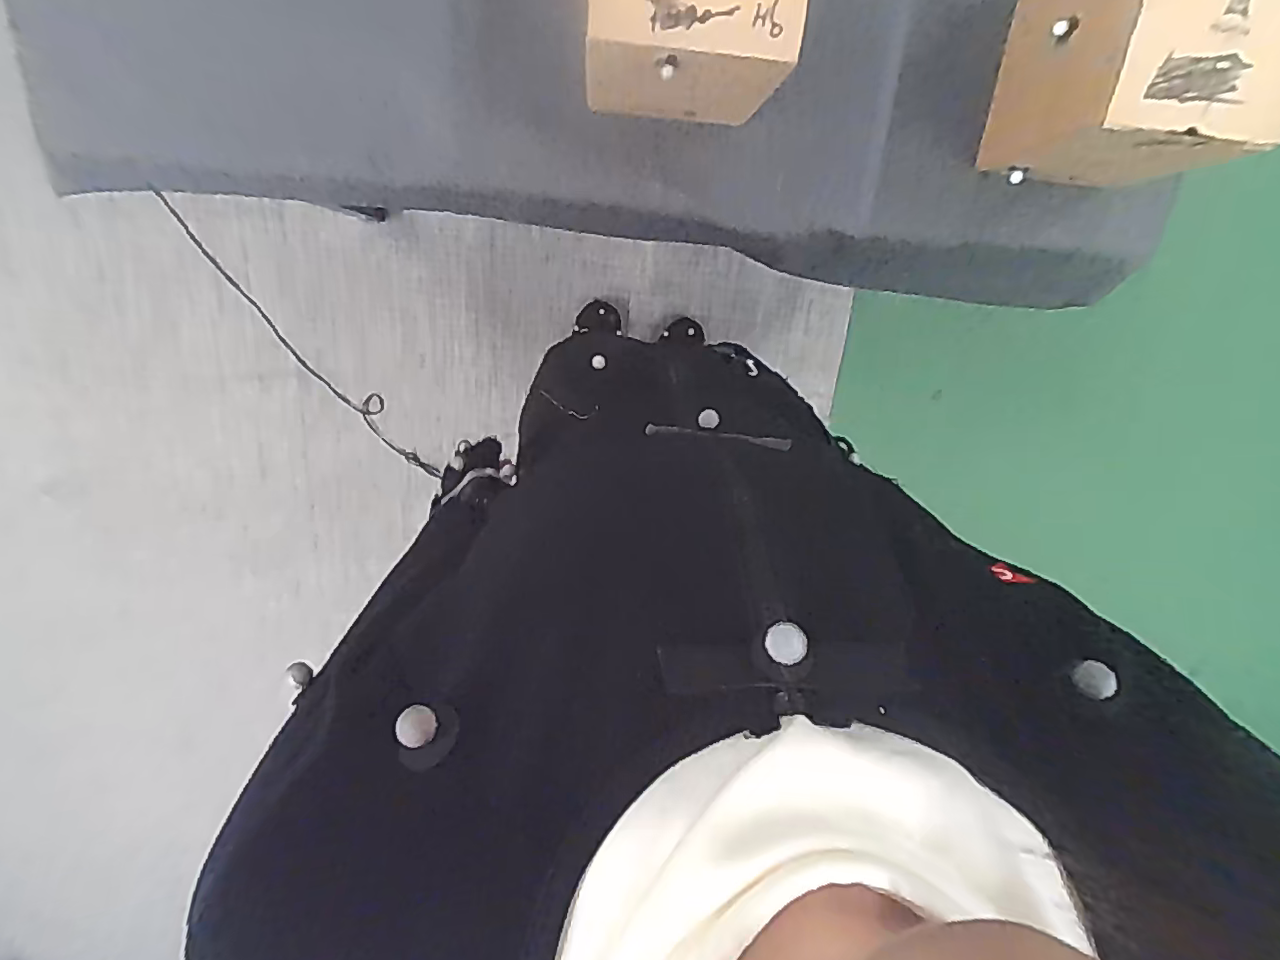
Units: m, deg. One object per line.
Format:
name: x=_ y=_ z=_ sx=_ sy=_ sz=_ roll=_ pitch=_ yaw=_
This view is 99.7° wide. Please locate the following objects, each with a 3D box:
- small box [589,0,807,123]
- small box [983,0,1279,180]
small box: x=0.043 y=-0.438 z=0.461 sx=0.168 sy=0.176 sz=0.179 roll=3 pitch=108 yaw=-6
small box: x=0.466 y=-0.399 z=0.507 sx=0.168 sy=0.176 sz=0.179 roll=4 pitch=107 yaw=-5
